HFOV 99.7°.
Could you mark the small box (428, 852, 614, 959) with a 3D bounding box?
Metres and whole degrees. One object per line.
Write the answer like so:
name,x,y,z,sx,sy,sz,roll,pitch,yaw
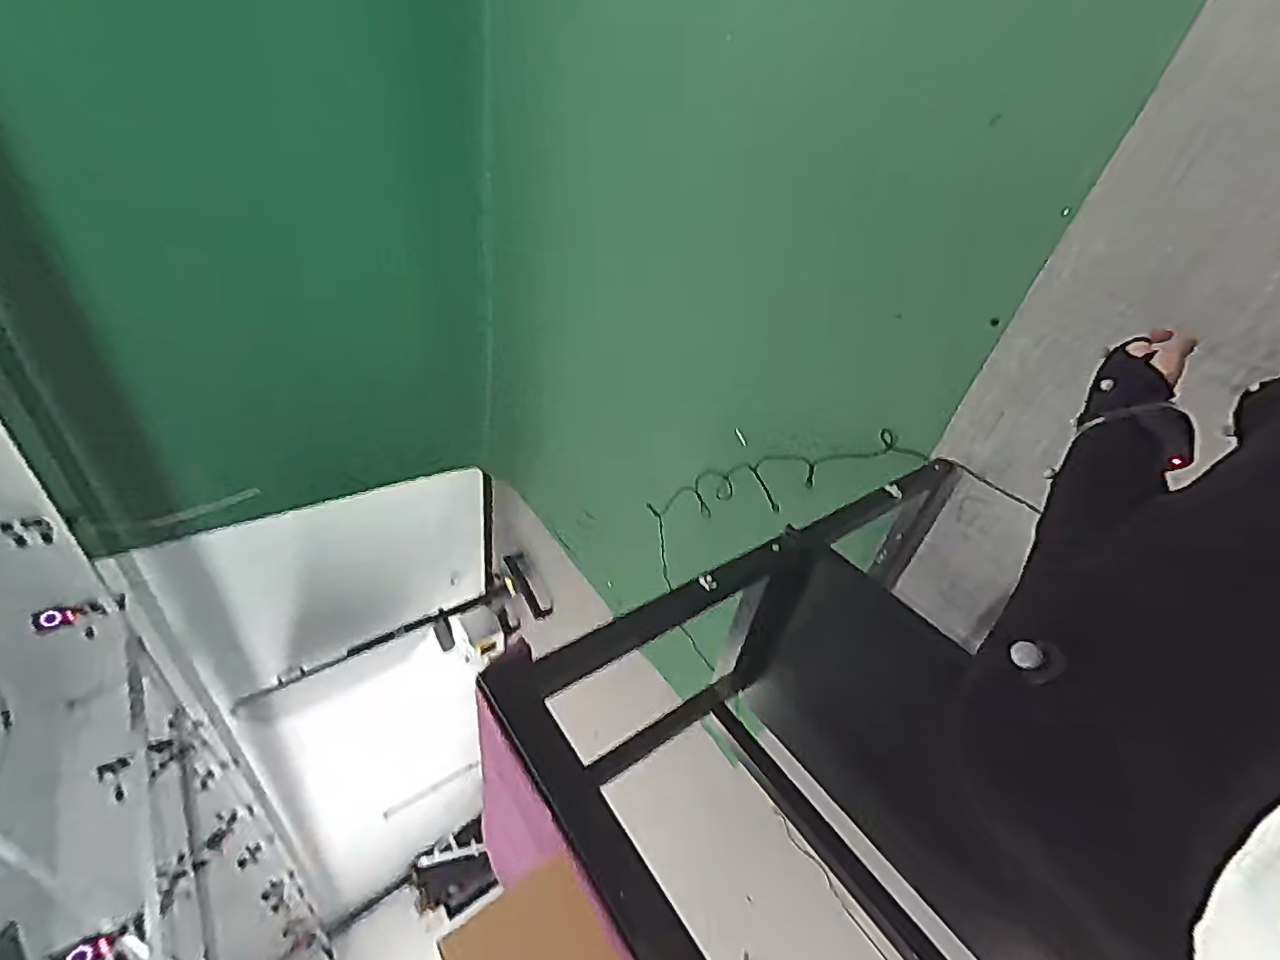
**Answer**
small box,-0.137,0.609,0.655,0.179,0.176,0.168,43,135,36
